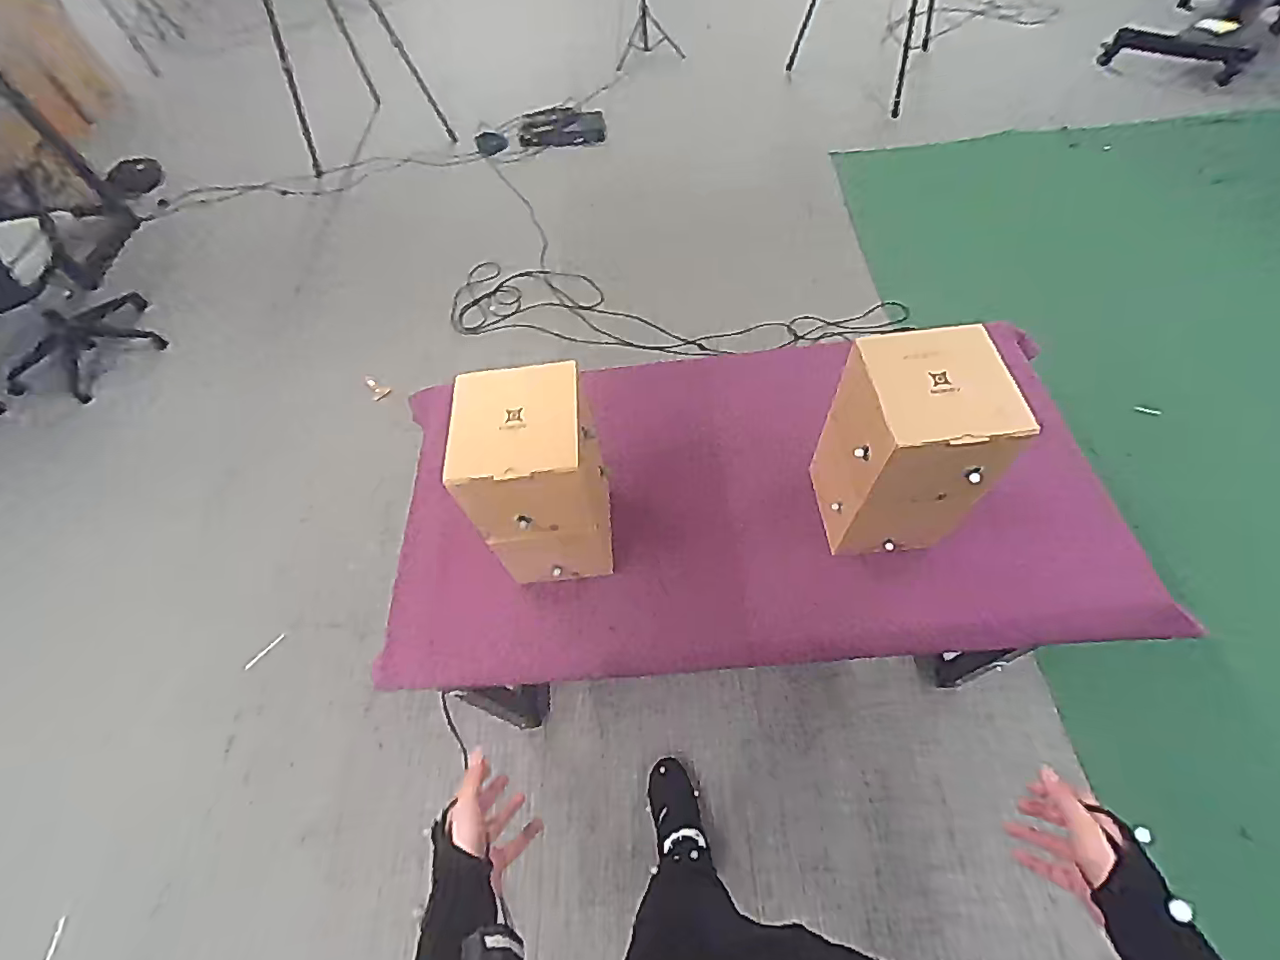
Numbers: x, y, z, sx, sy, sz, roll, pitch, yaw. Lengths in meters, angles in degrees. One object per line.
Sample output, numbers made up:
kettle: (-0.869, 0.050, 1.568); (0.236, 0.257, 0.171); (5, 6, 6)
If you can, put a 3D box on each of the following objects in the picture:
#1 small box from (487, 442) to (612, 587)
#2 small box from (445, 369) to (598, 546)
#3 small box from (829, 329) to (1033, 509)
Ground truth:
small box: (-0.139, 0.060, 0.893); (0.168, 0.176, 0.179); (-6, 58, 3)
small box: (-0.154, -0.027, 0.757); (0.168, 0.176, 0.179); (-7, 58, 2)
small box: (0.367, -0.072, 0.723); (0.168, 0.176, 0.179); (-6, 58, 3)
